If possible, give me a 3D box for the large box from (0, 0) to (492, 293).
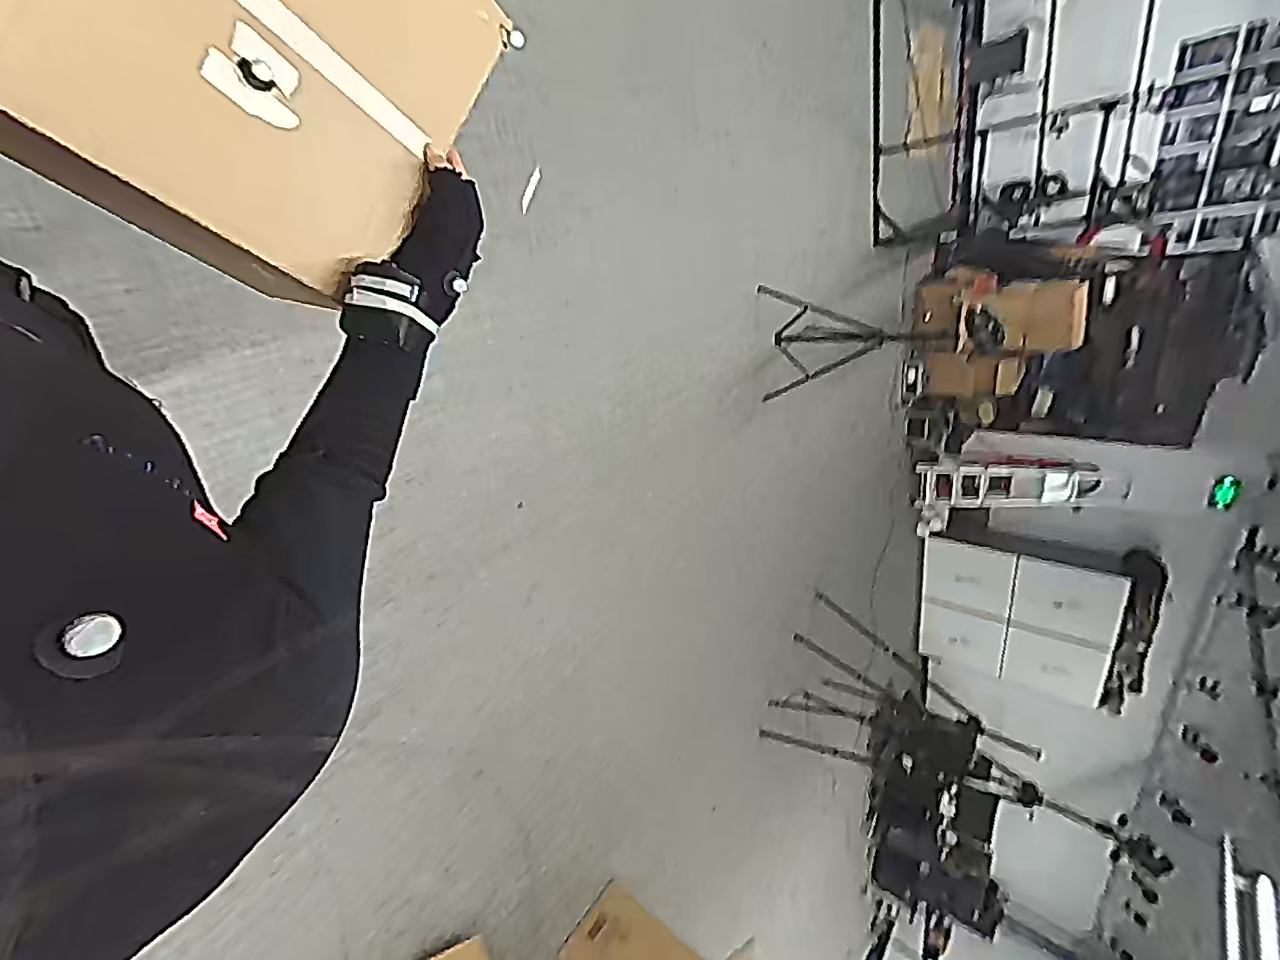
[{"bbox_3d":[-0.416,-0.402,0.439,0.408,0.320,0.320,28,85,-51],"label":"large box"}]
